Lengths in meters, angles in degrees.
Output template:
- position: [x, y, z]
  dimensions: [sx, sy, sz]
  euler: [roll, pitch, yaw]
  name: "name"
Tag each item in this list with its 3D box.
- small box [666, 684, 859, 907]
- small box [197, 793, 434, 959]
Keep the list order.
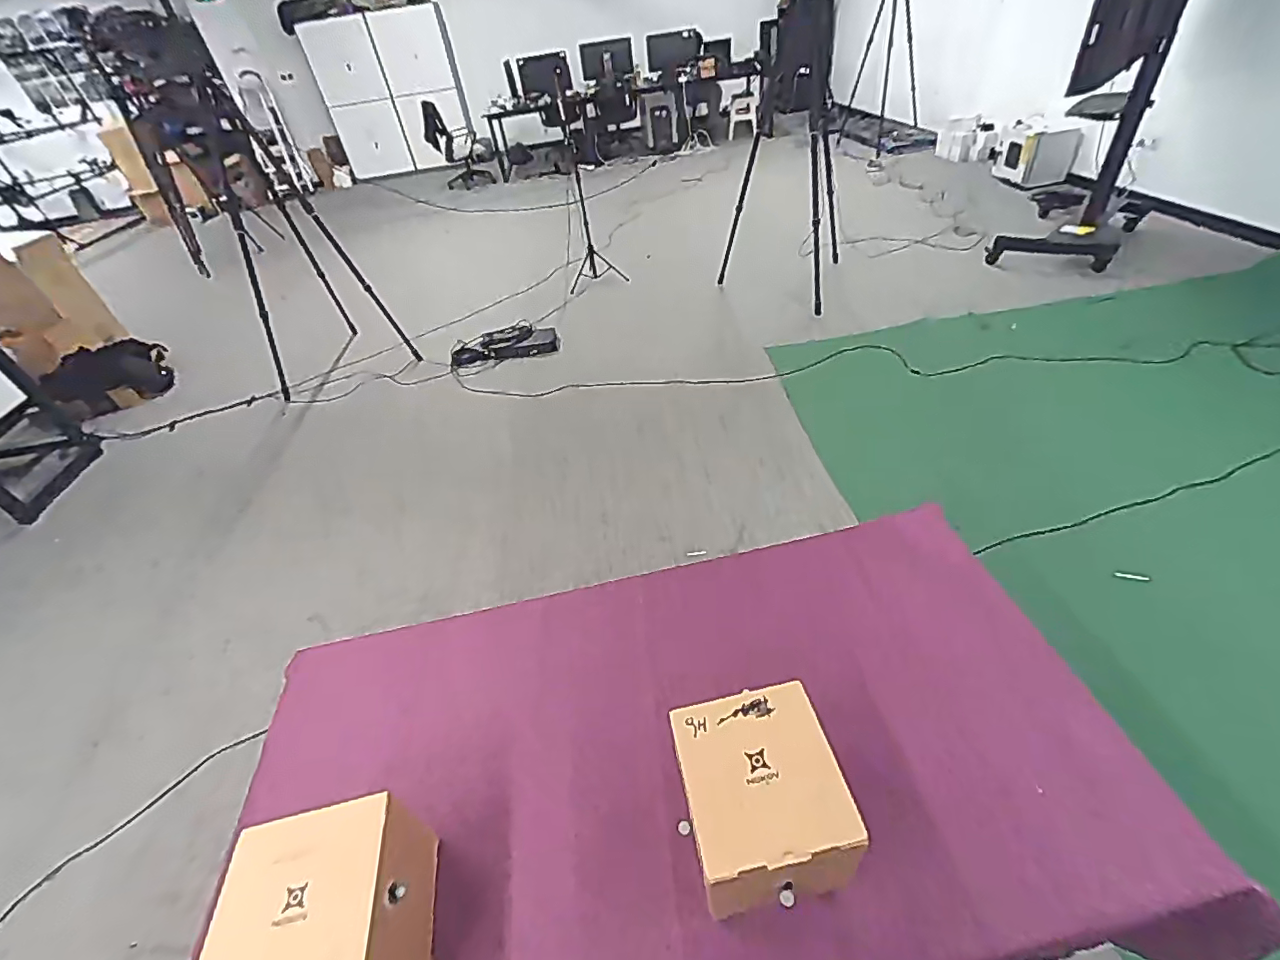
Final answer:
- position: [0.134, 0.376, 0.639]
  dimensions: [0.168, 0.176, 0.179]
  euler: [-11, 42, -3]
  name: "small box"
- position: [-0.342, 0.487, 0.599]
  dimensions: [0.168, 0.176, 0.179]
  euler: [-12, 40, -5]
  name: "small box"
